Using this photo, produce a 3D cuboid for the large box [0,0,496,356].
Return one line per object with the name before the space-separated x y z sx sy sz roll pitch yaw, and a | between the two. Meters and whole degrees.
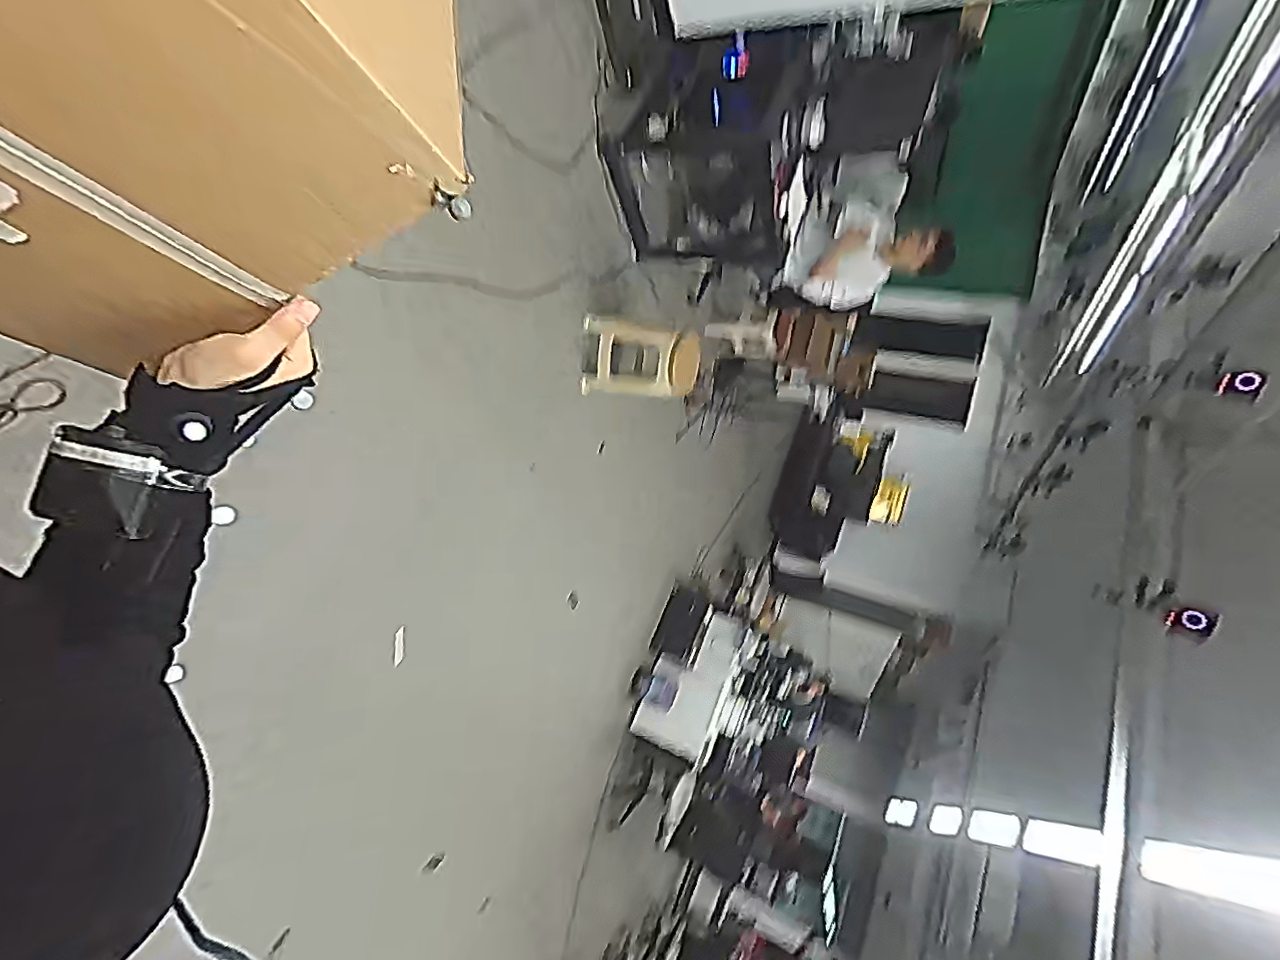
large box | -0.326 -0.326 0.236 0.408 0.320 0.320 31 44 -60
